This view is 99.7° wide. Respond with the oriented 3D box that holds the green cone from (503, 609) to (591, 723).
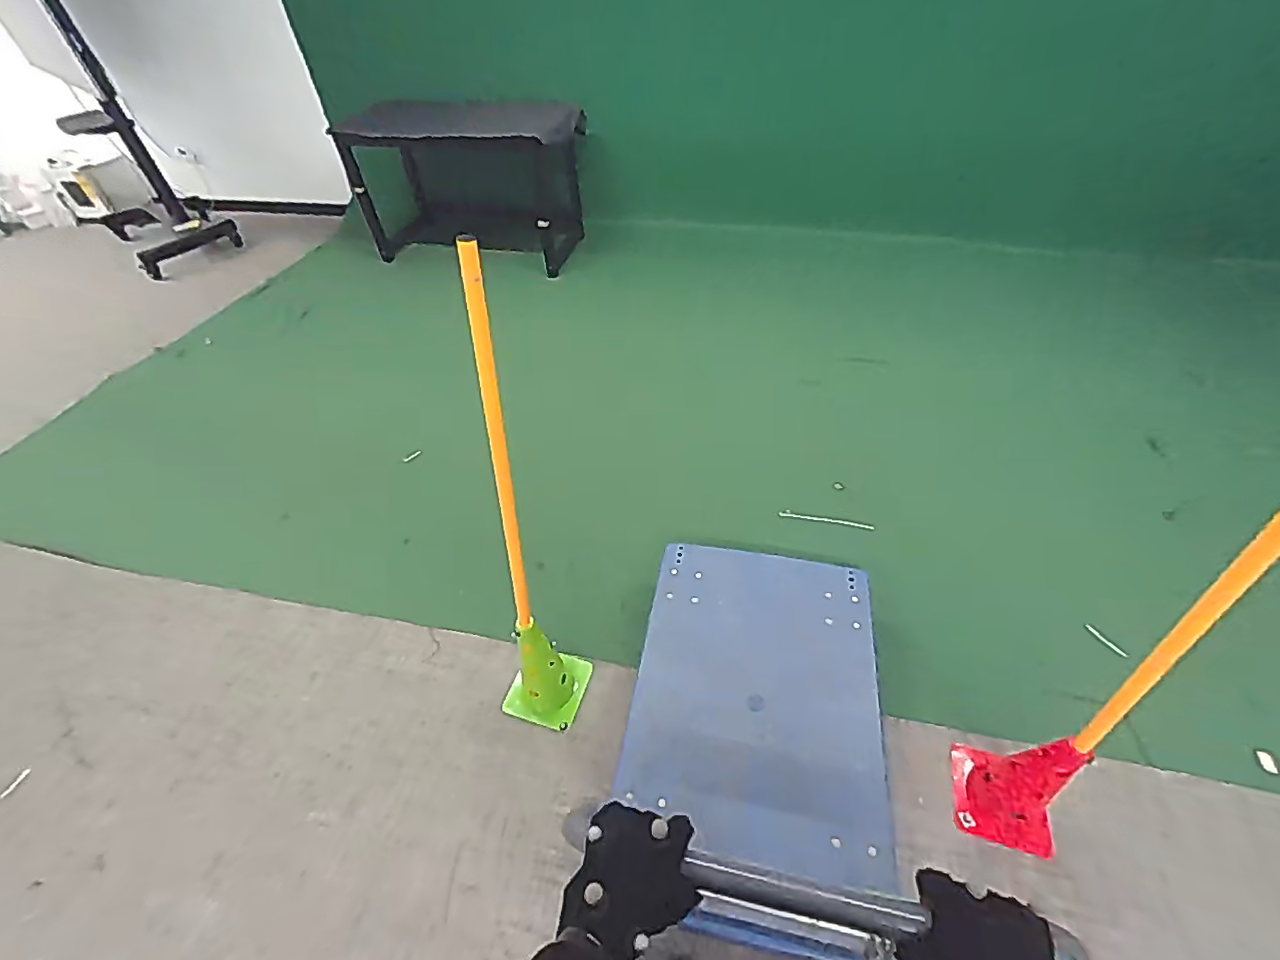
[{"bbox_3d":[-0.265,0.442,1.392,0.202,0.368,0.200,11,47,14],"label":"green cone"}]
